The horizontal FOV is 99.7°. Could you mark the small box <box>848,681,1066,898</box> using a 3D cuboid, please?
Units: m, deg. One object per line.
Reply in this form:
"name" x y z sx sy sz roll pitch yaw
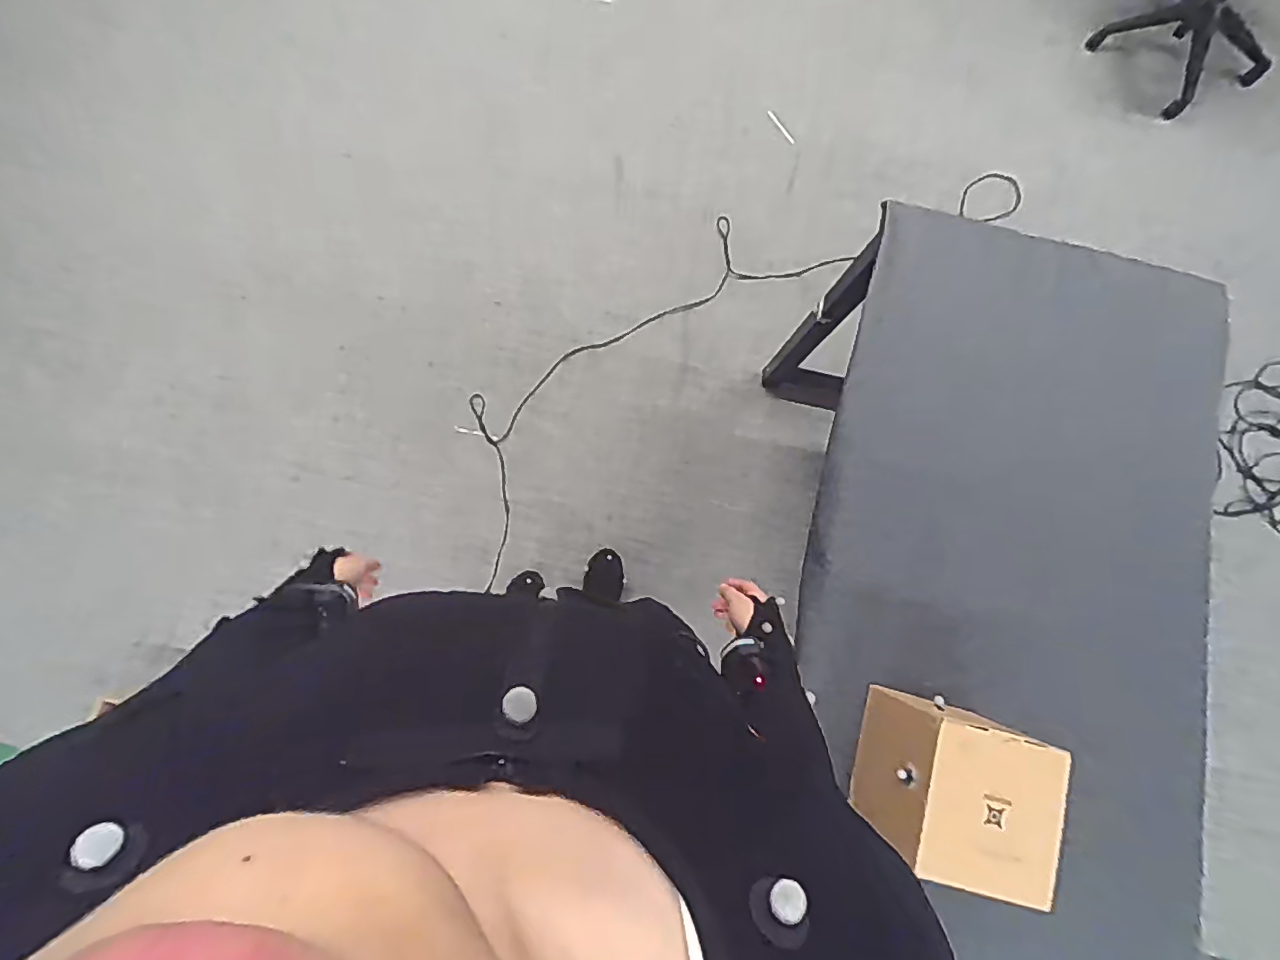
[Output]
"small box" 0.391 0.375 0.693 0.168 0.176 0.179 16 81 -3
